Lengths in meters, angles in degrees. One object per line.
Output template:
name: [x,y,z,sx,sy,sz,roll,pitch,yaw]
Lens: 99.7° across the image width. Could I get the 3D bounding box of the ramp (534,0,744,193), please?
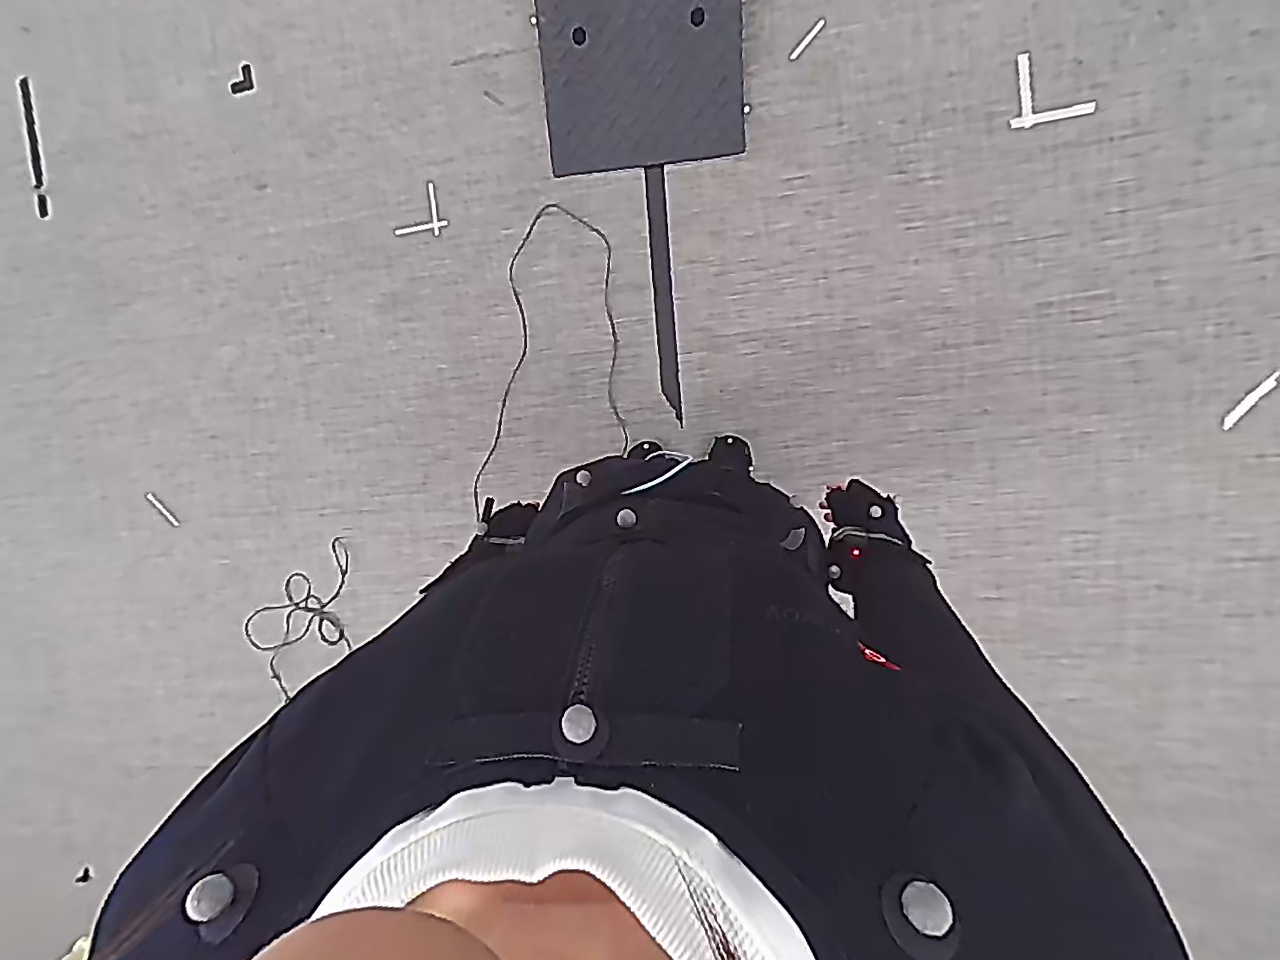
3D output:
ramp: [-0.025,-1.257,1.278,0.509,0.206,0.991,-5,94,8]
